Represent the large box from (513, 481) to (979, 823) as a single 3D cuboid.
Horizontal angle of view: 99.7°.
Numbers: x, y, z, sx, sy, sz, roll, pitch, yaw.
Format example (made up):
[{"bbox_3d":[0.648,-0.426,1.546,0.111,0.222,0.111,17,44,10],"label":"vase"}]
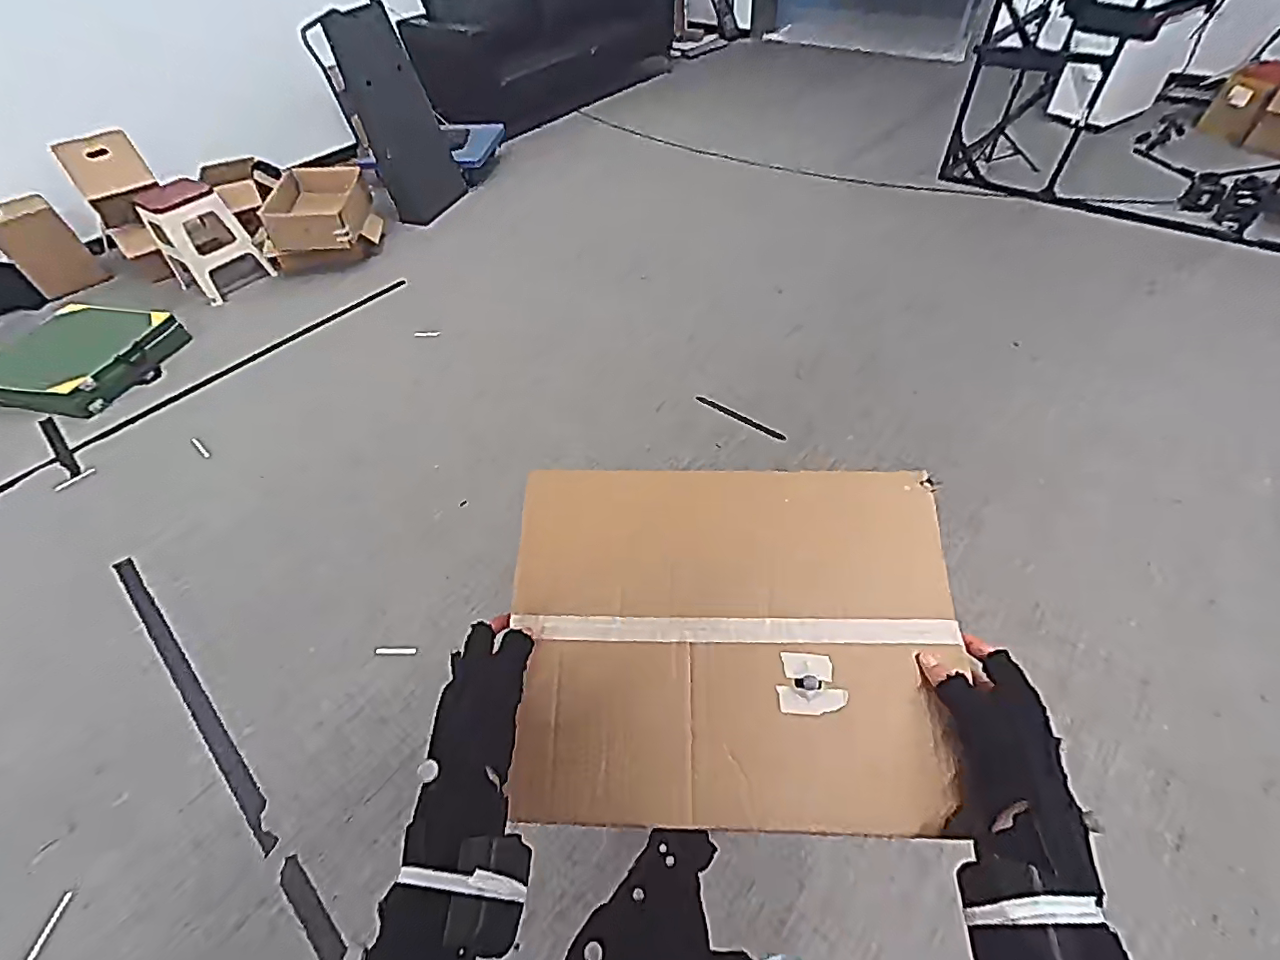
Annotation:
[{"bbox_3d":[0.093,0.200,0.650,0.408,0.320,0.320,0,69,3],"label":"large box"}]
